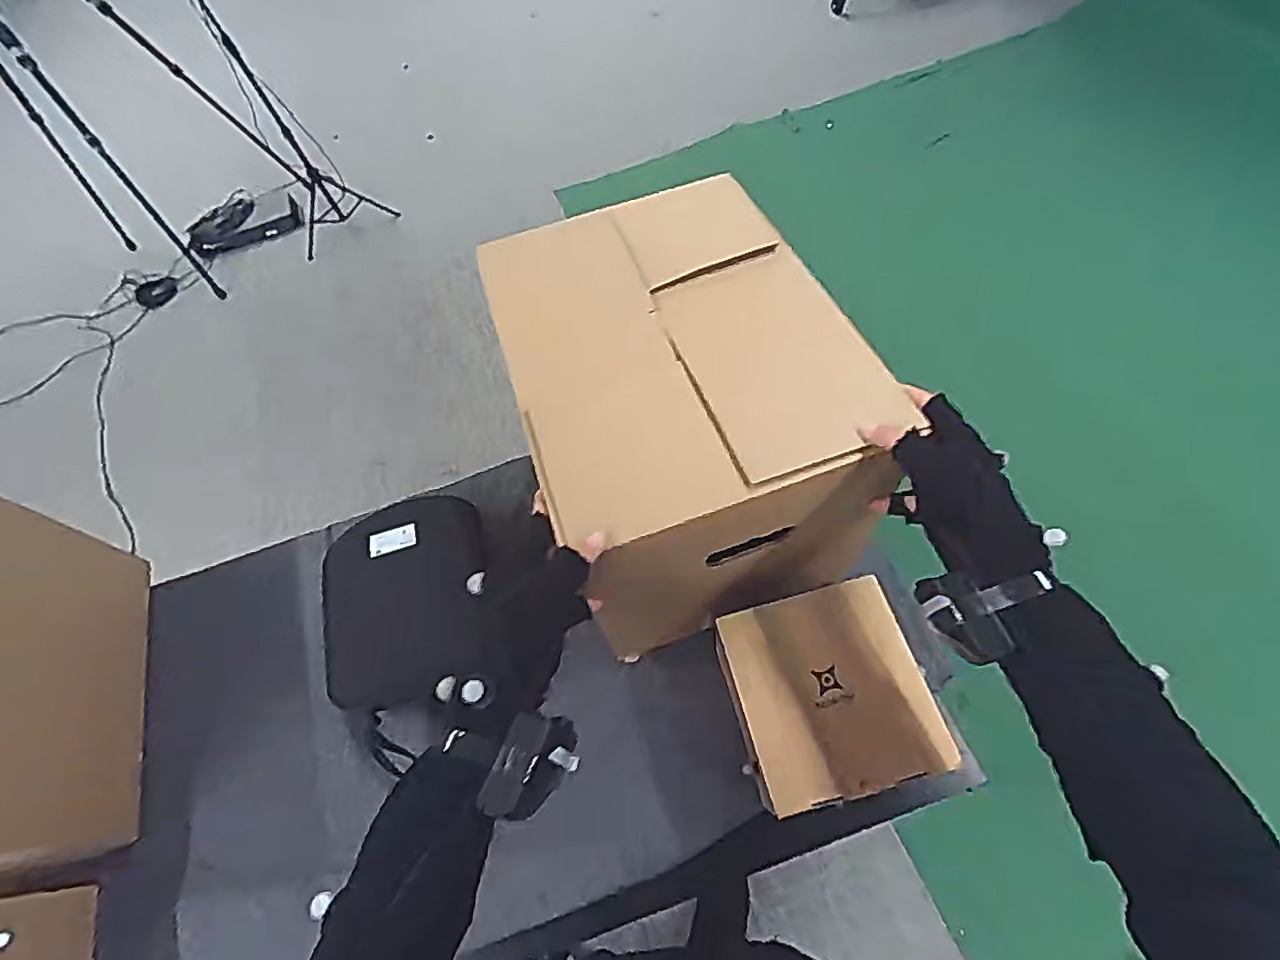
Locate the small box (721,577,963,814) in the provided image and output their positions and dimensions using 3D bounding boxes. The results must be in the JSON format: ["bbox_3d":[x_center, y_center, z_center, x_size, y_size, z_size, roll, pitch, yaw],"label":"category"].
[{"bbox_3d":[0.185,0.226,0.564,0.168,0.176,0.179,-16,62,1],"label":"small box"}]
